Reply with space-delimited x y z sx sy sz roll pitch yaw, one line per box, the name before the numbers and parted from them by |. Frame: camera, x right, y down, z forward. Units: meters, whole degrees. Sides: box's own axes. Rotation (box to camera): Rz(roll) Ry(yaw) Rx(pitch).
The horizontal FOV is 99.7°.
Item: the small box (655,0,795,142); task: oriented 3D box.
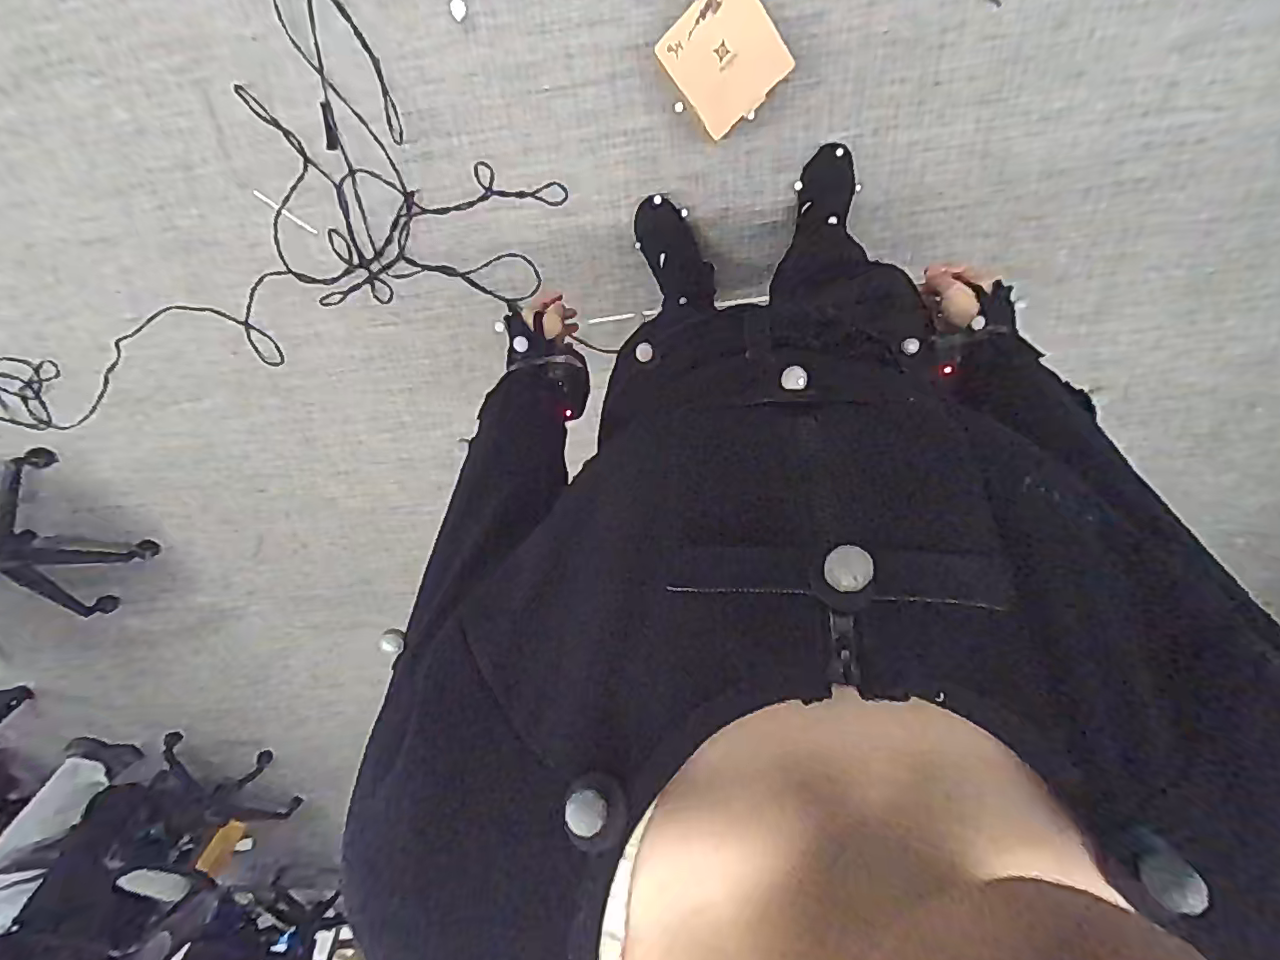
small box | 0.143 -0.733 0.948 0.168 0.176 0.179 -36 114 21
